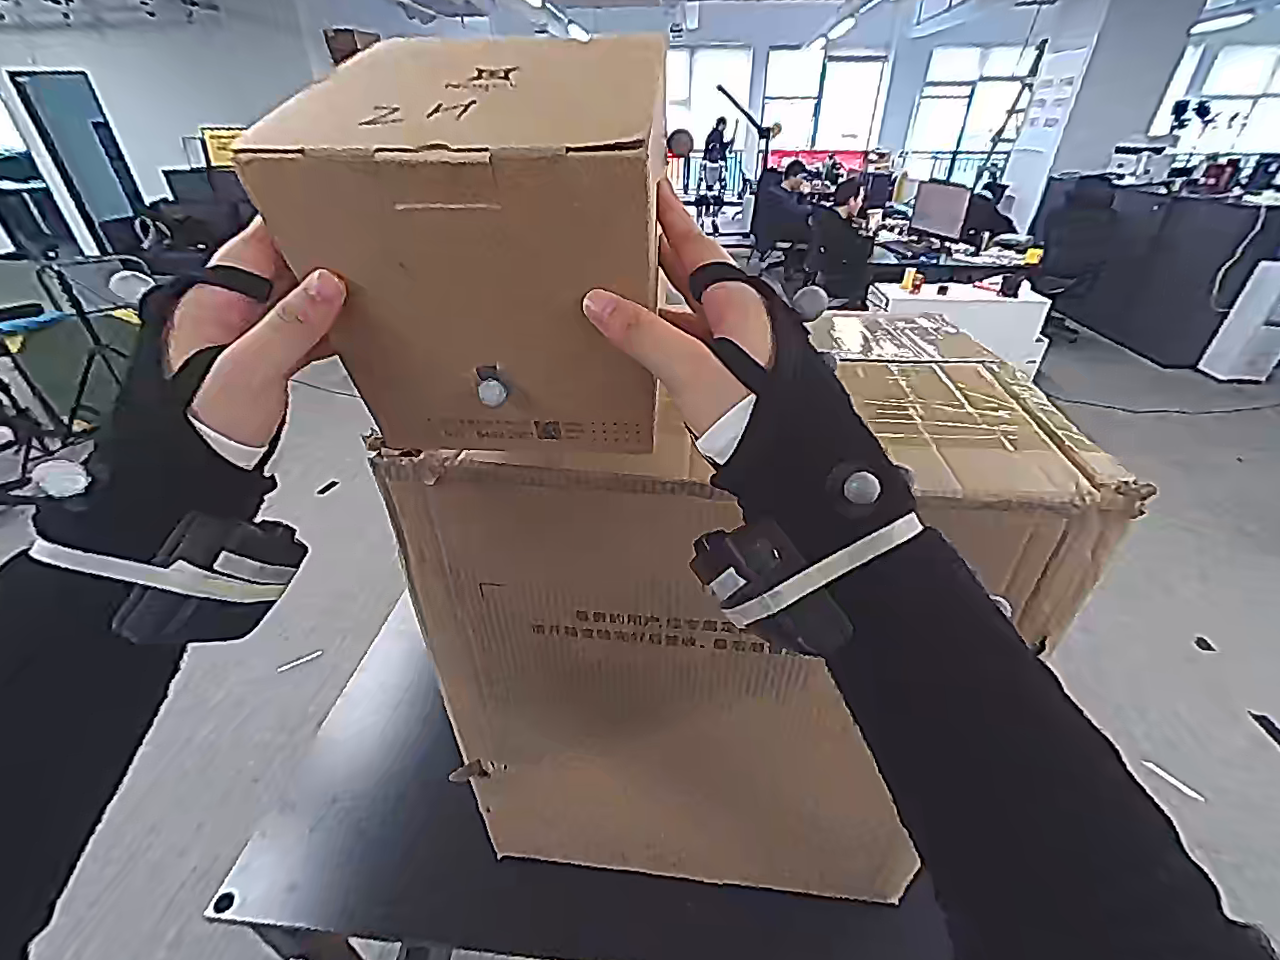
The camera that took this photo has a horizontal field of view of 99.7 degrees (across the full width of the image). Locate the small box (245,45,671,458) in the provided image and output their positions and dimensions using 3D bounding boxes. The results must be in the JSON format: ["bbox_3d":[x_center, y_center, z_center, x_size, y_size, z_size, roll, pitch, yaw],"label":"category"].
[{"bbox_3d":[-0.068,-0.135,0.321,0.168,0.176,0.179,1,49,4],"label":"small box"}]
